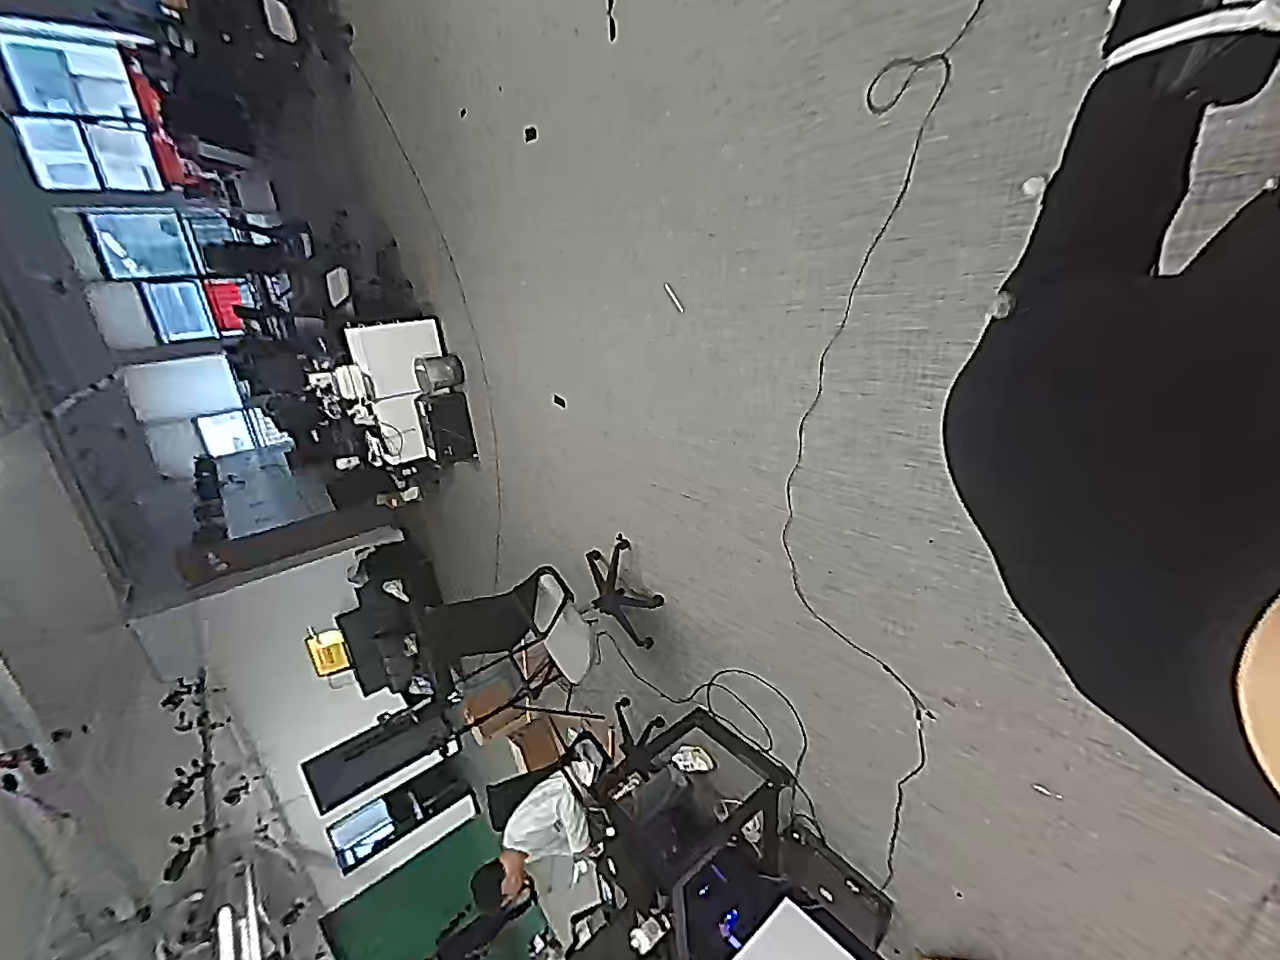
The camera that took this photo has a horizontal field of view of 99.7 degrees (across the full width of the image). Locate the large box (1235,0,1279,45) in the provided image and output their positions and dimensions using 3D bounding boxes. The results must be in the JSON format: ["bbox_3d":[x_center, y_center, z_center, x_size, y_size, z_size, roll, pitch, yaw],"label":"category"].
[{"bbox_3d":[0.597,-0.455,0.234,0.408,0.320,0.320,21,127,44],"label":"large box"}]
